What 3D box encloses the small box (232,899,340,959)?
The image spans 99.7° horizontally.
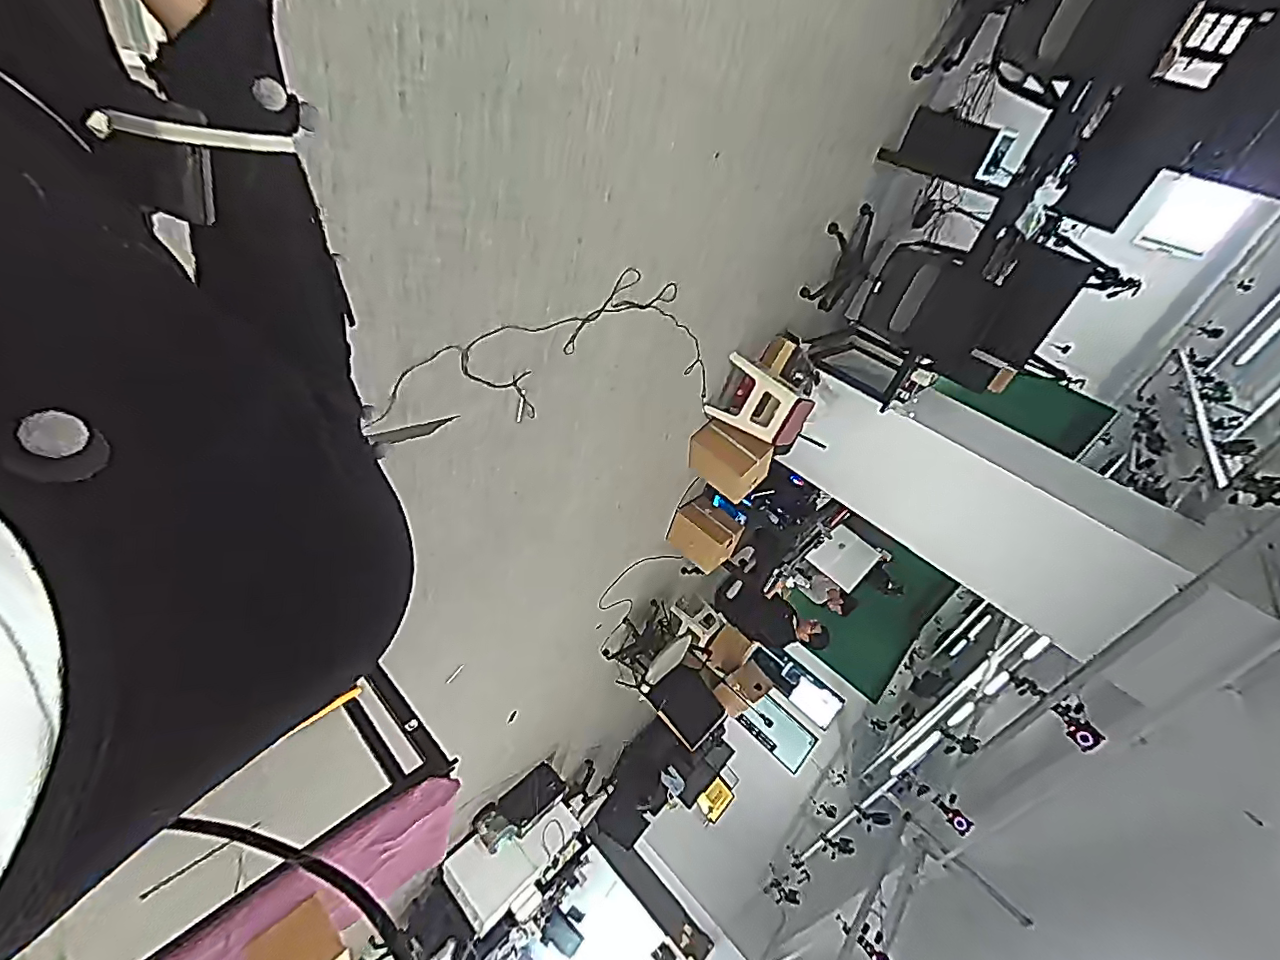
[{"bbox_3d":[-0.879,1.210,1.355,0.179,0.176,0.168,-23,143,-45],"label":"small box"}]
